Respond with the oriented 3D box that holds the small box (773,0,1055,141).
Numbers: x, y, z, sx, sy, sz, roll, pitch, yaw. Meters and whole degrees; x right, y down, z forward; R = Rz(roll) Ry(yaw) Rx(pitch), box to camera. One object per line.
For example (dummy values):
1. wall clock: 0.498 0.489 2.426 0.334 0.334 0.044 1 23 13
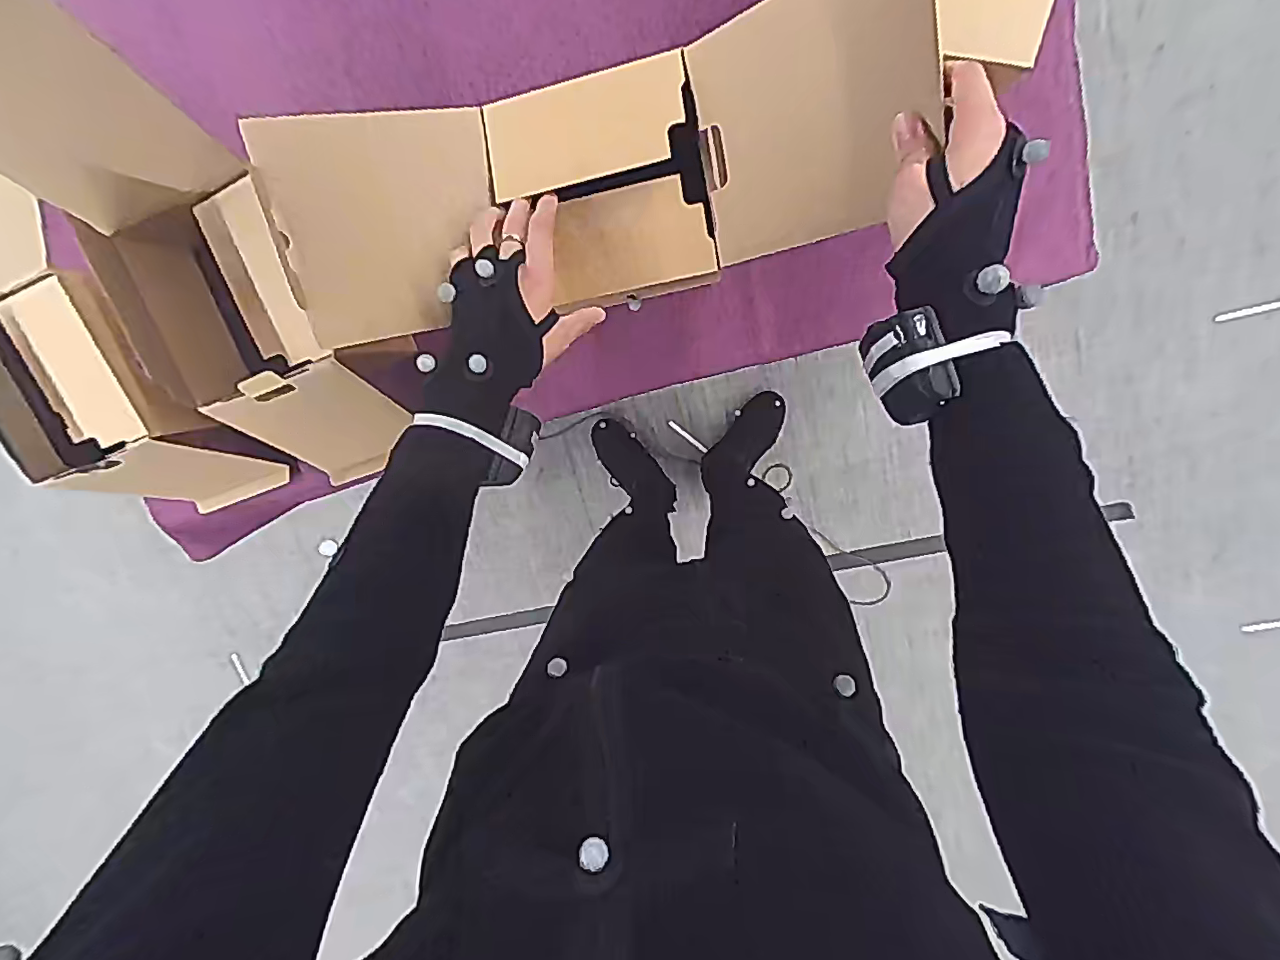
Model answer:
1. small box: 0.224 -0.411 0.455 0.179 0.176 0.168 12 106 3
